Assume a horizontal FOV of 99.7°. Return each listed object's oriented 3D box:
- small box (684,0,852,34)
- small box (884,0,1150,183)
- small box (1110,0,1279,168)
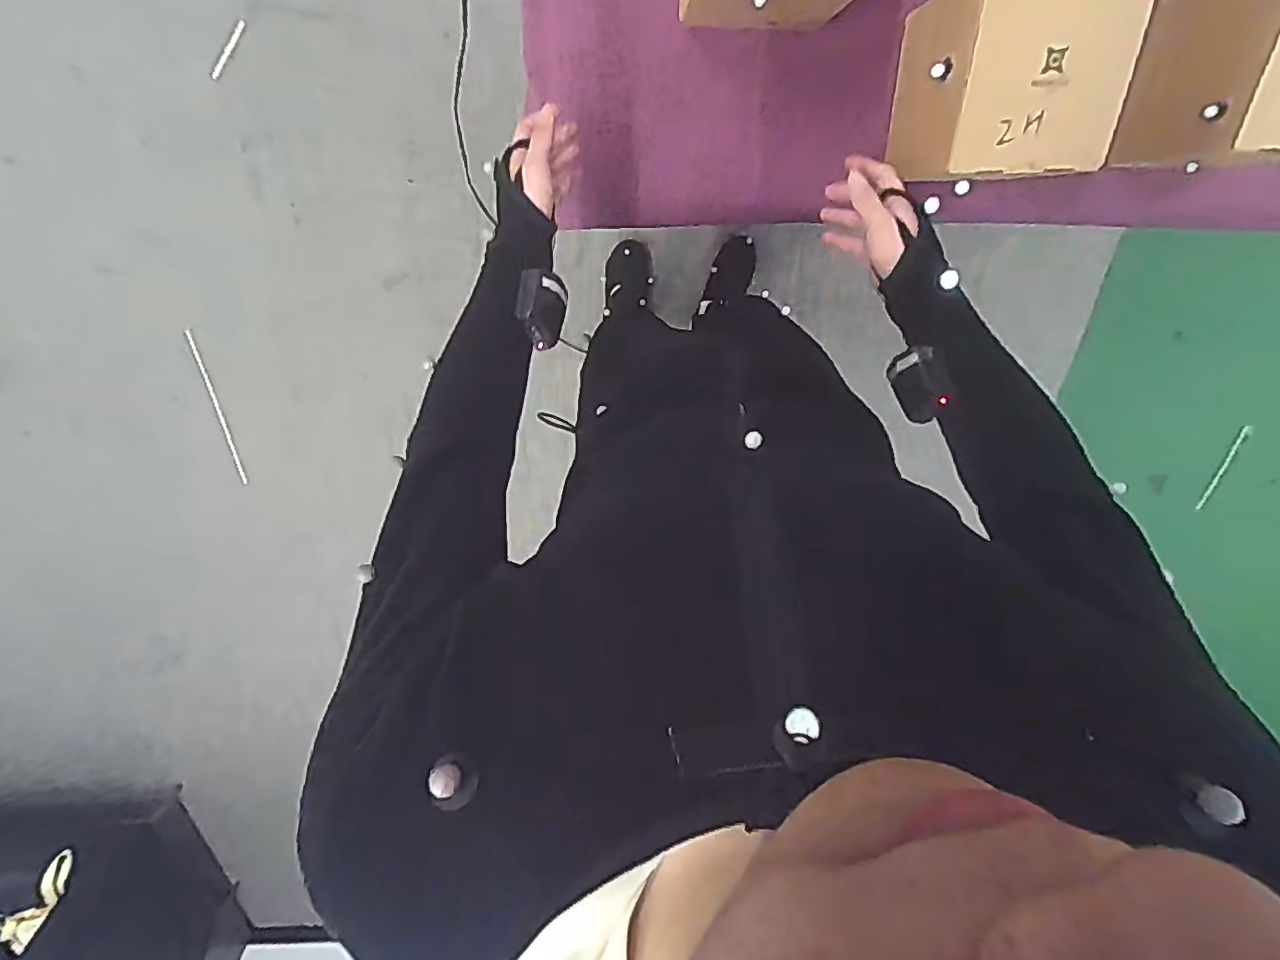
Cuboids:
[{"bbox_3d":[0.134,-0.571,0.526,0.168,0.176,0.179,1,117,-1],"label":"small box"},{"bbox_3d":[0.398,-0.438,0.605,0.168,0.176,0.179,-1,117,-1],"label":"small box"},{"bbox_3d":[0.694,-0.458,0.608,0.168,0.176,0.179,-1,117,-2],"label":"small box"}]
